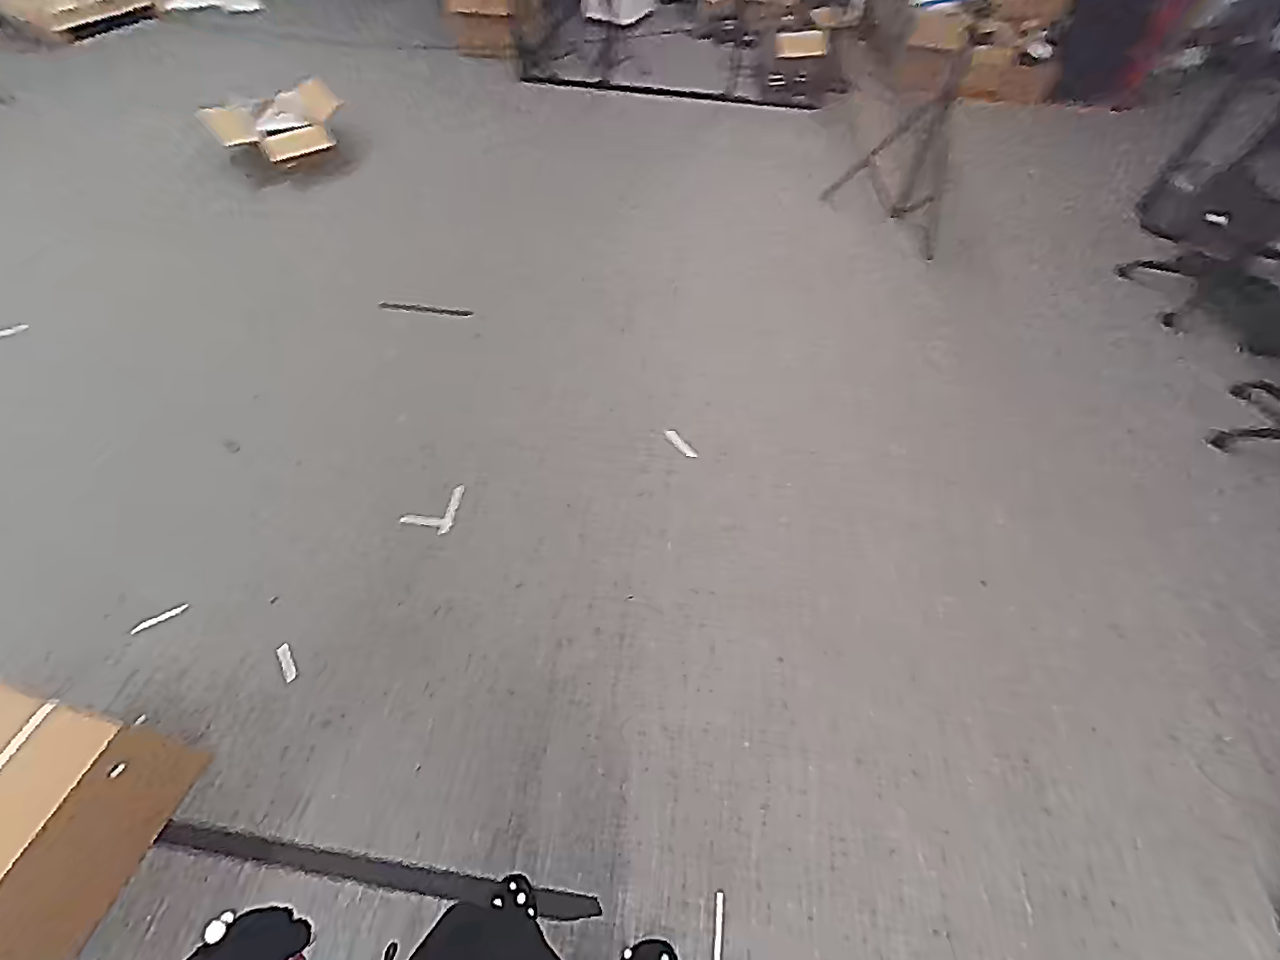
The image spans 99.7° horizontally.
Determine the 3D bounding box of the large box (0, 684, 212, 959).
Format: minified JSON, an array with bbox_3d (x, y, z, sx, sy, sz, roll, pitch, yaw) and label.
[{"bbox_3d":[-1.198,0.679,1.073,0.320,0.320,0.408,14,55,7],"label":"large box"}]
